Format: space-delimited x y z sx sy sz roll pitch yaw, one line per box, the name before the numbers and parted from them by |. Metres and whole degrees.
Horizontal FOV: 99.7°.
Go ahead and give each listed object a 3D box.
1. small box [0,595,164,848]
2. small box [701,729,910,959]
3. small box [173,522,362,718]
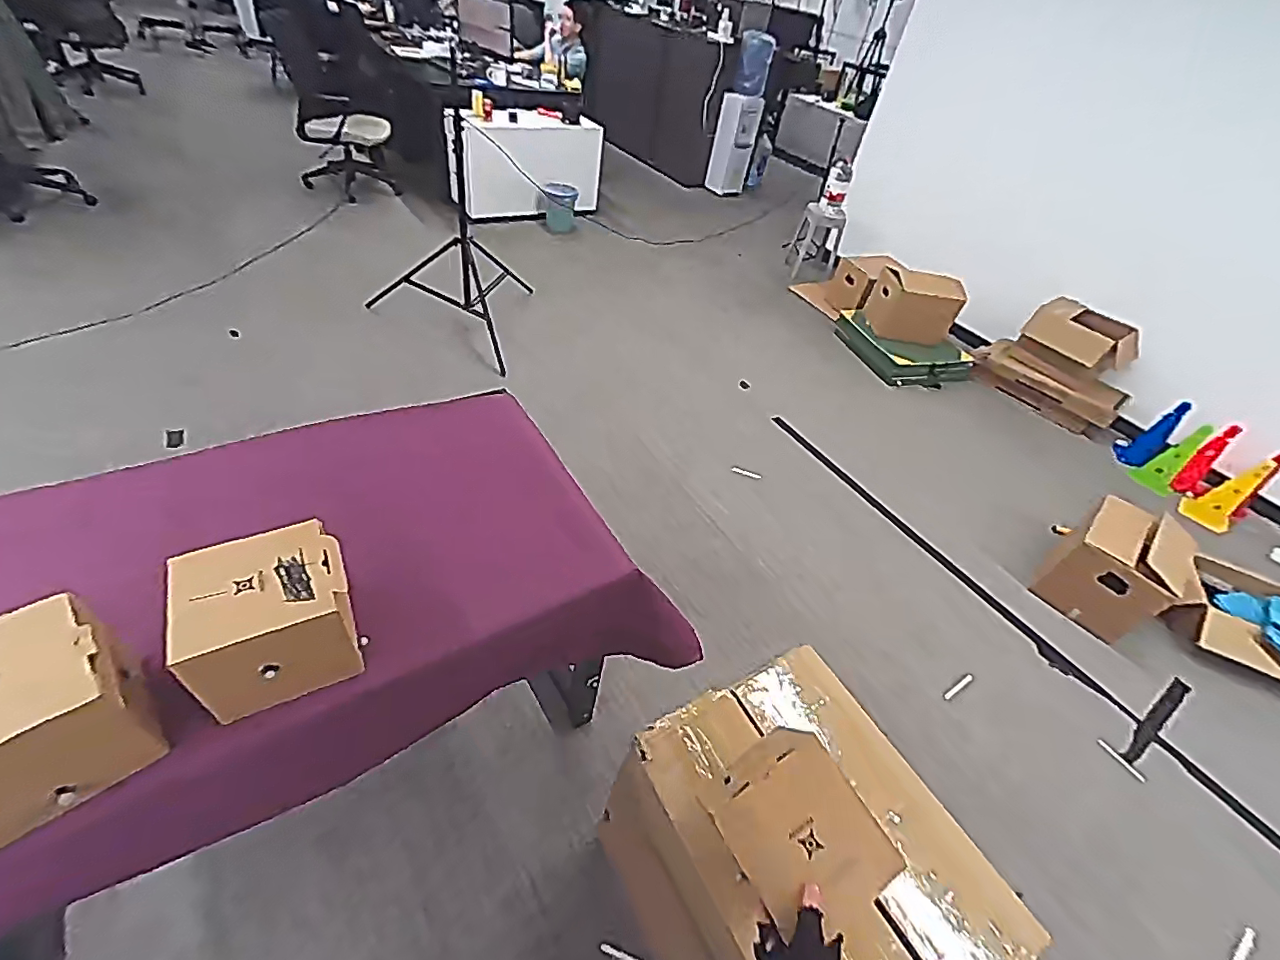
small box | -0.690 0.272 0.616 0.179 0.176 0.168 -28 56 -36
small box | 0.198 0.451 0.708 0.168 0.176 0.179 -32 73 -13
small box | -0.498 0.191 0.744 0.179 0.176 0.168 -16 49 -26
